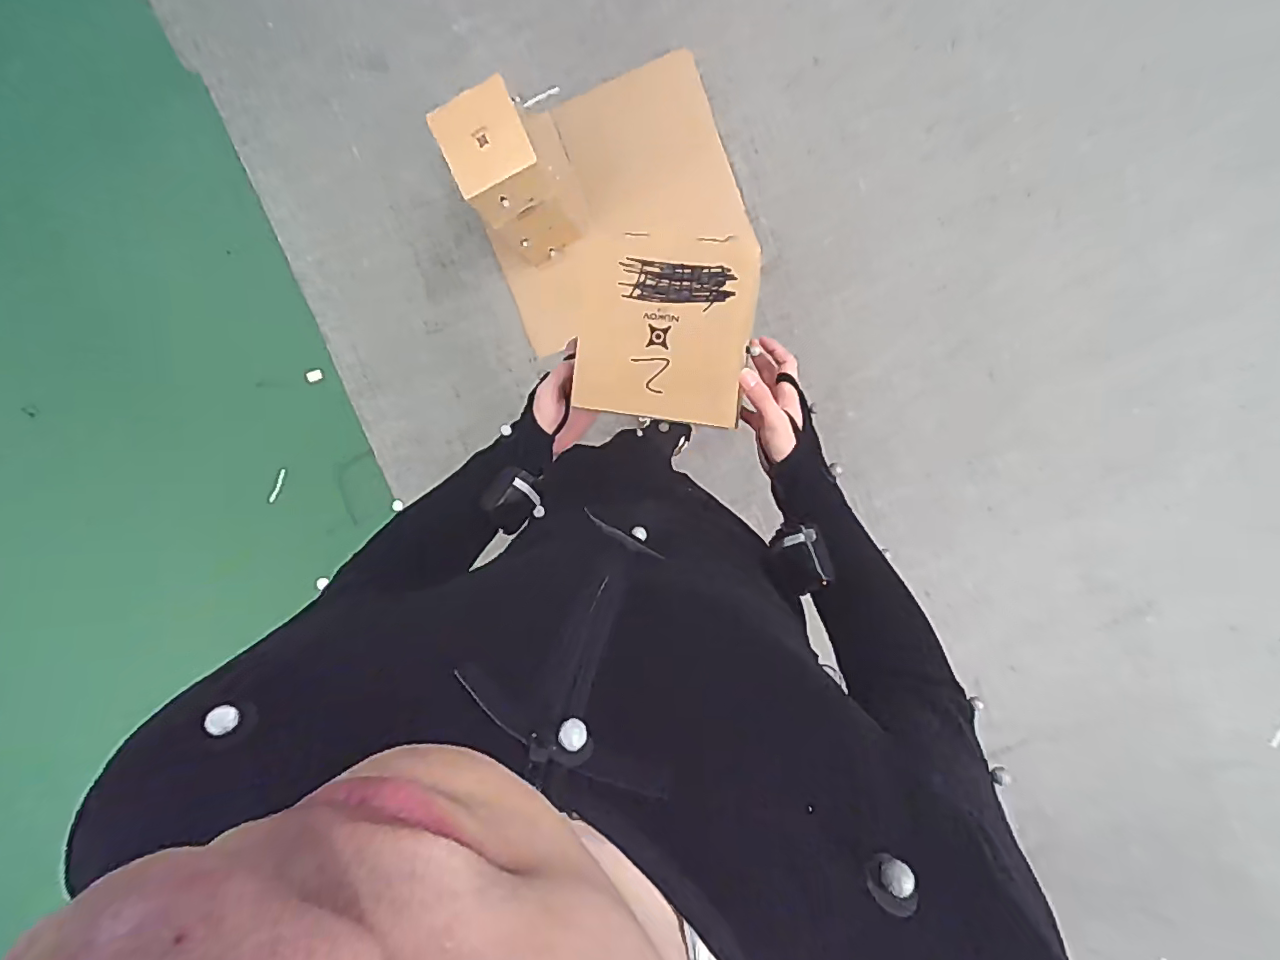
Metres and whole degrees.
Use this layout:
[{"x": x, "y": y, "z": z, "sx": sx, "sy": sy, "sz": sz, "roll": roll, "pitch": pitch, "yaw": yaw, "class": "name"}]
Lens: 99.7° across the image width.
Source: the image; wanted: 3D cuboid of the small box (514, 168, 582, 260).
[{"x": -0.272, "y": -0.713, "z": 1.427, "sx": 0.168, "sy": 0.176, "sz": 0.179, "roll": -28, "pitch": 96, "yaw": 8, "class": "small box"}]

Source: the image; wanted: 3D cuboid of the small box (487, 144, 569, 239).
[{"x": -0.285, "y": -0.689, "z": 1.266, "sx": 0.168, "sy": 0.176, "sz": 0.179, "roll": -24, "pitch": 95, "yaw": 8, "class": "small box"}]

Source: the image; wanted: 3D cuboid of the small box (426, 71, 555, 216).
[{"x": -0.294, "y": -0.668, "z": 1.106, "sx": 0.168, "sy": 0.176, "sz": 0.179, "roll": -24, "pitch": 95, "yaw": 8, "class": "small box"}]
